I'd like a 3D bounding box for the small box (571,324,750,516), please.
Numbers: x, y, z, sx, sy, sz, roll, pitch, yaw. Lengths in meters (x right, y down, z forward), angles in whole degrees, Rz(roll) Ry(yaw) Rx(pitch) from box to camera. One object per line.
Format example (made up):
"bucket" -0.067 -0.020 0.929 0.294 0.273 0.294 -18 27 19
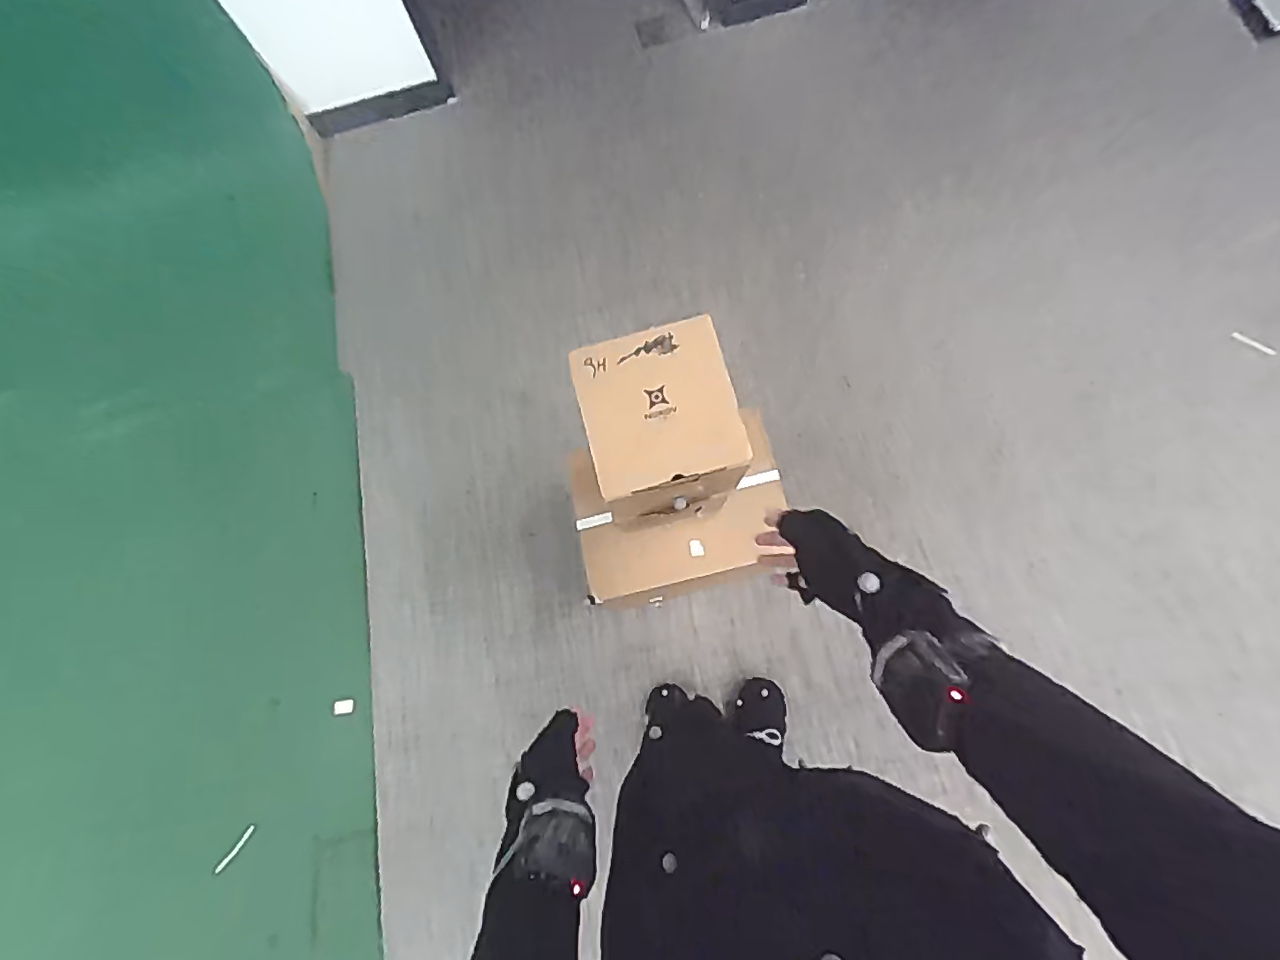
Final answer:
"small box" 0.026 -0.059 0.665 0.168 0.176 0.179 -15 79 1

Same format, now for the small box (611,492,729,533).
"small box" 0.030 -0.022 0.824 0.168 0.176 0.179 -15 77 0
